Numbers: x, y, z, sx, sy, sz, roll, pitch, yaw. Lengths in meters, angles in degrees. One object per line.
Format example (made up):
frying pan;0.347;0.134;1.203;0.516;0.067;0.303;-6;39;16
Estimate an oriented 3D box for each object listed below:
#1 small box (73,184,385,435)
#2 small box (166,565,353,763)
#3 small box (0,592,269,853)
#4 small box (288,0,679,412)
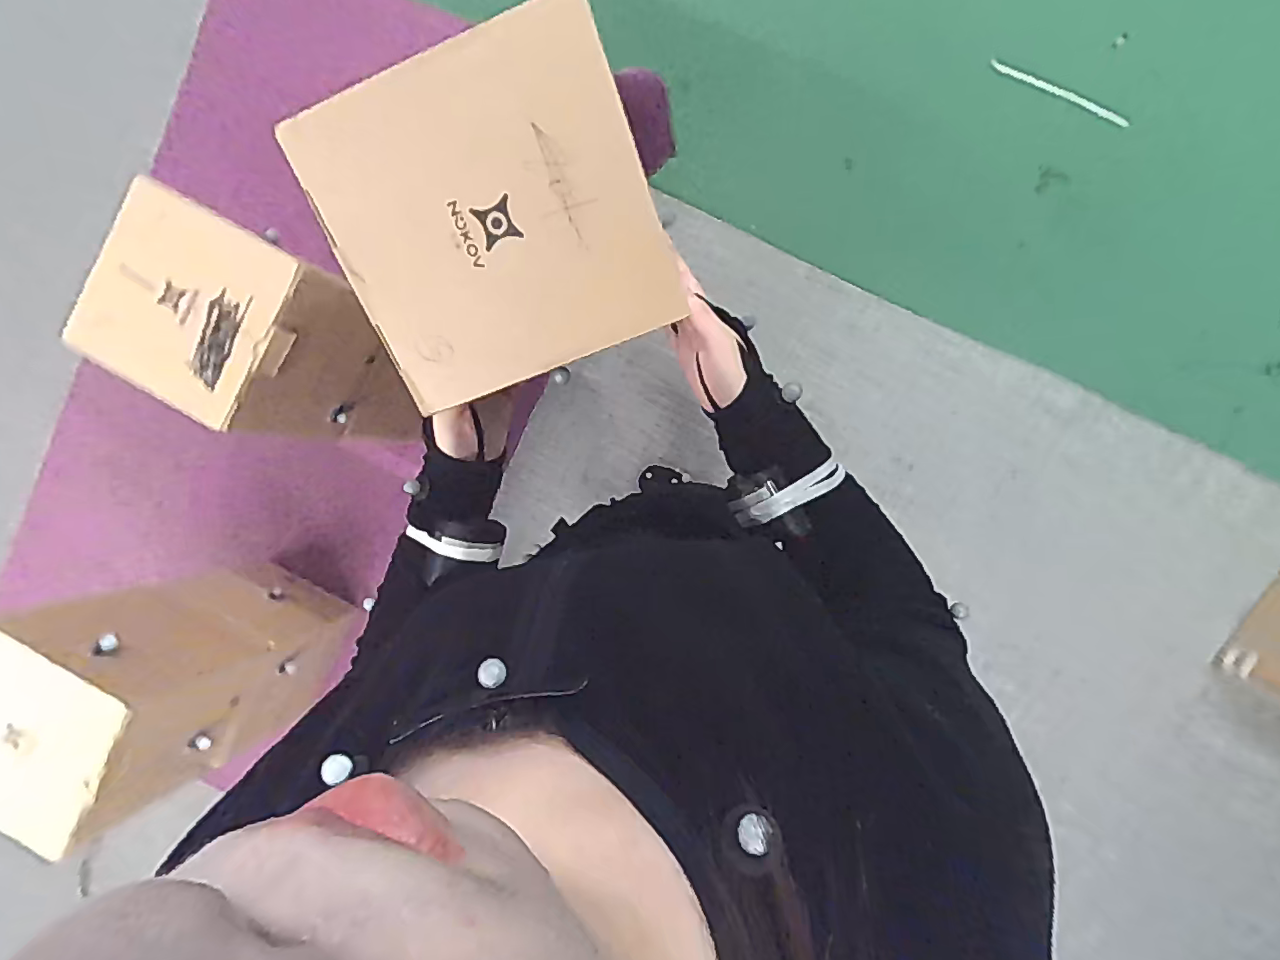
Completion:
small box;-0.394;-0.156;0.557;0.179;0.176;0.168;29;94;5
small box;-0.535;0.235;0.744;0.168;0.176;0.179;26;93;5
small box;-0.561;0.236;0.582;0.179;0.176;0.168;27;93;4
small box;-0.078;-0.163;0.373;0.179;0.176;0.168;-18;108;8
